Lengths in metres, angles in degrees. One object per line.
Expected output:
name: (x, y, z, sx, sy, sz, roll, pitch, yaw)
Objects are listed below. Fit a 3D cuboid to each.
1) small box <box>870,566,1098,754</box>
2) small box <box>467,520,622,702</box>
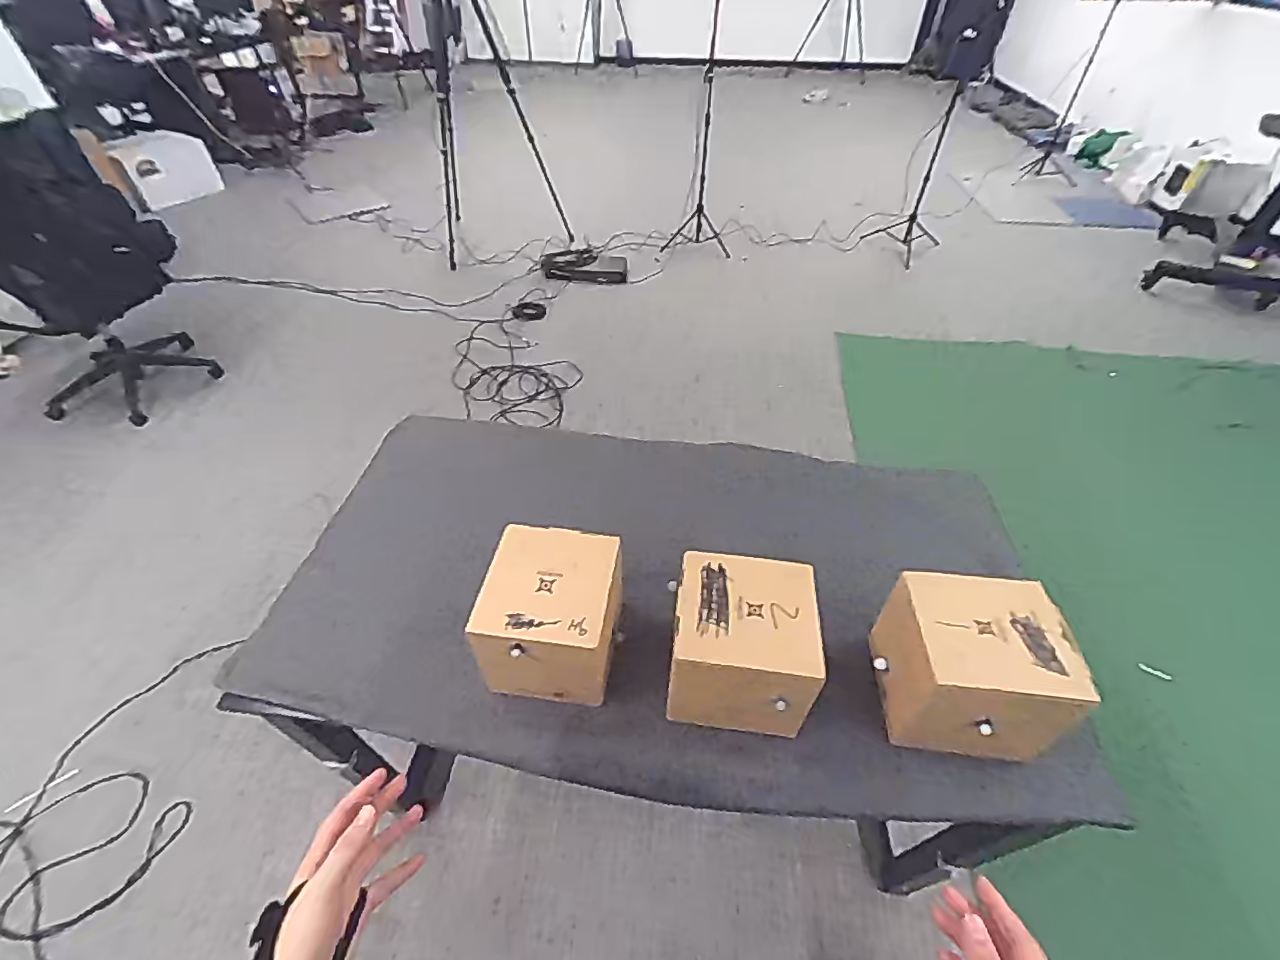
small box: (0.424, 0.236, 0.705, 0.179, 0.176, 0.168, 5, 43, 6)
small box: (-0.120, 0.183, 0.761, 0.168, 0.176, 0.179, 6, 45, 7)
